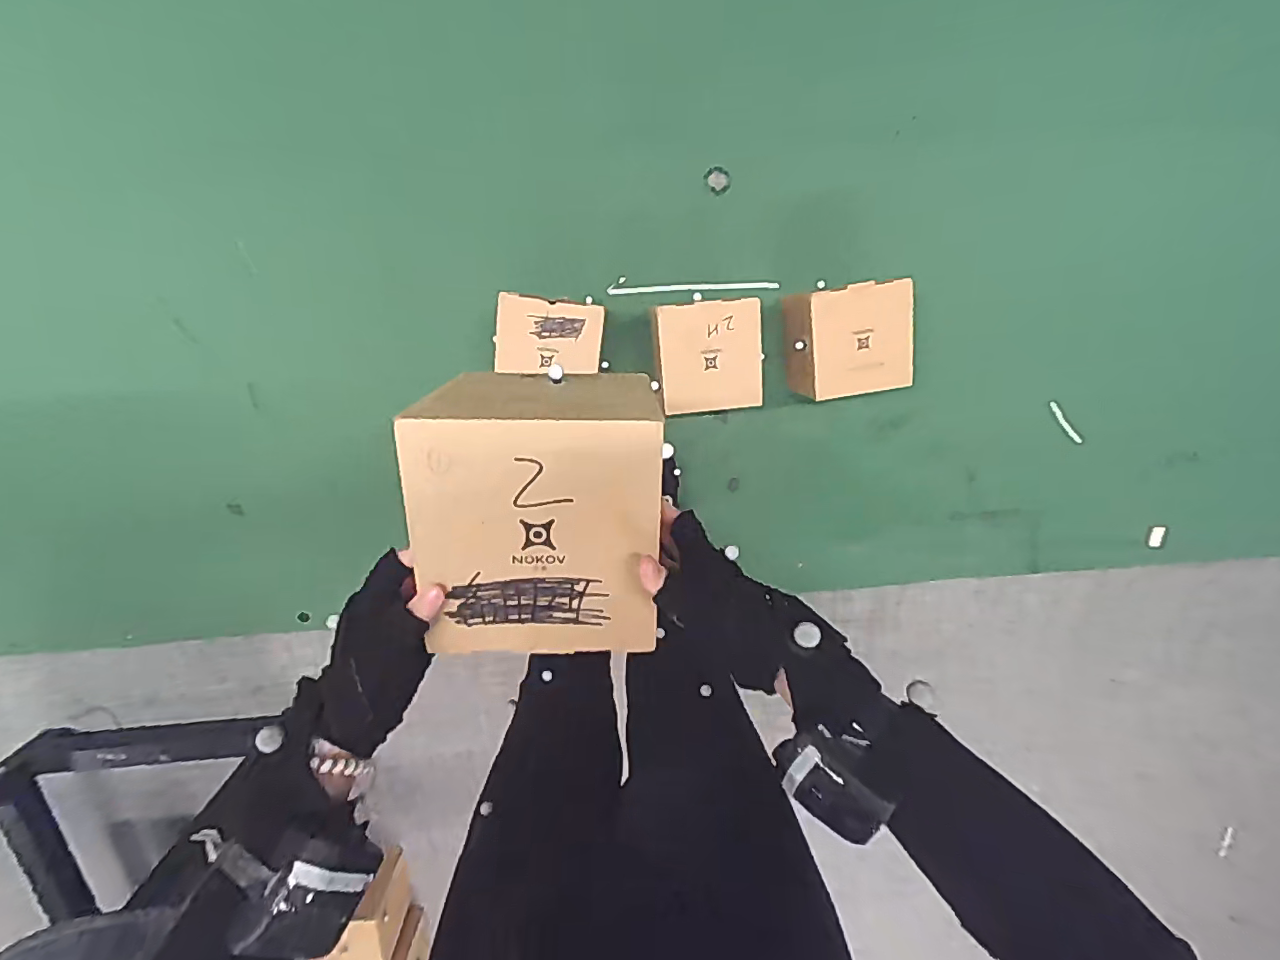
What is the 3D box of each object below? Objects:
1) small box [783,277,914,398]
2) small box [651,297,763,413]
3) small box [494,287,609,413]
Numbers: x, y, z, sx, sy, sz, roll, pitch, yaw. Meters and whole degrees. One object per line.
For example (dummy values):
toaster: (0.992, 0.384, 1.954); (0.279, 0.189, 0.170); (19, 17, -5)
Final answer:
small box: (0.357, -0.249, 0.953); (0.168, 0.176, 0.179); (-8, 107, -1)
small box: (0.111, -0.222, 0.943); (0.168, 0.176, 0.179); (-5, 107, -3)
small box: (-0.147, -0.225, 0.927); (0.168, 0.176, 0.179); (7, 107, -5)
